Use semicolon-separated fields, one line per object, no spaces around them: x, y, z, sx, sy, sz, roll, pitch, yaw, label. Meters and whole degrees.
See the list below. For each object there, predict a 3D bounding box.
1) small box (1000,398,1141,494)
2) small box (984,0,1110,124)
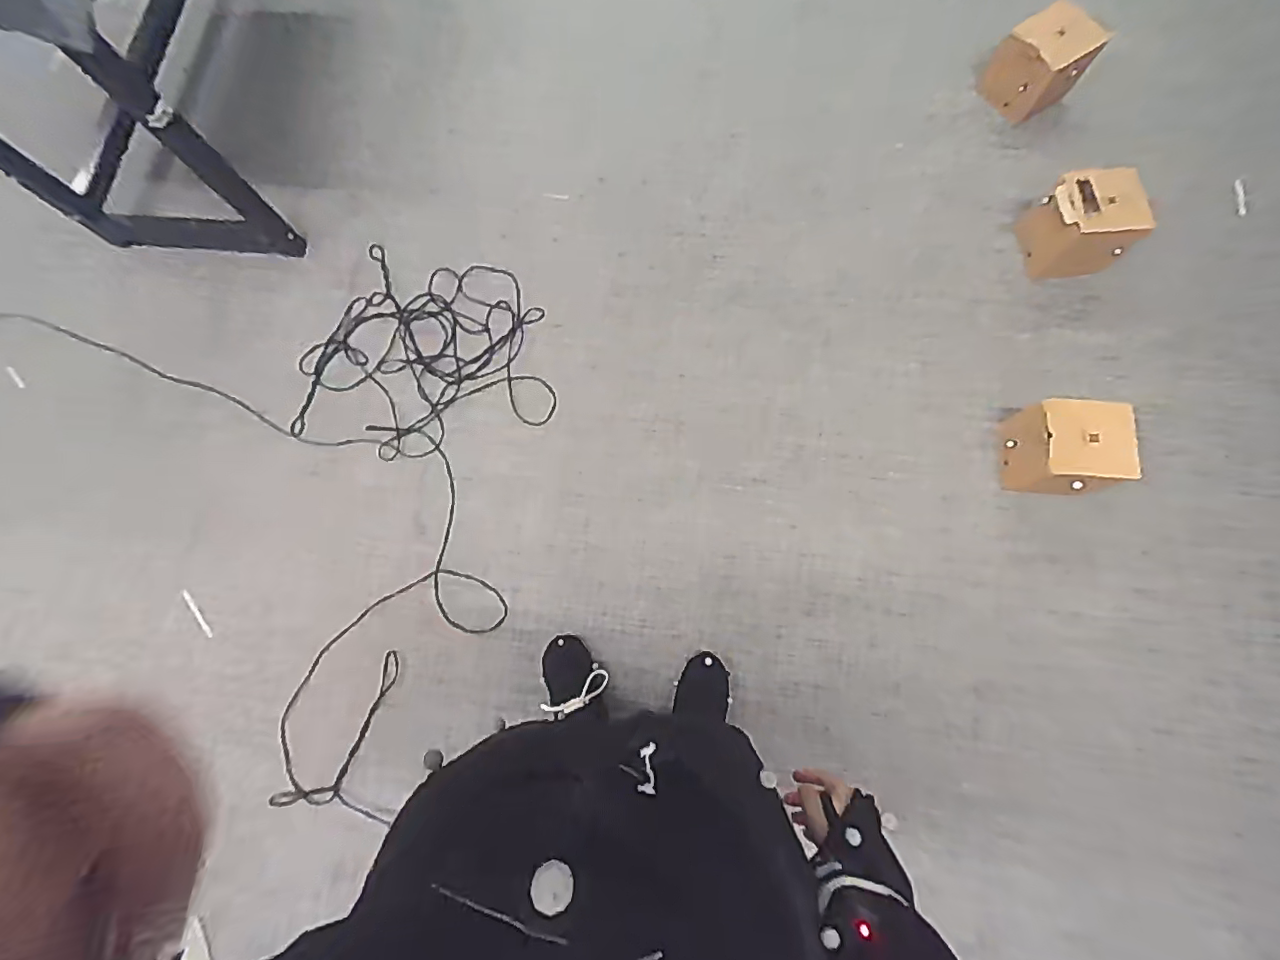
0.923;-0.067;1.176;0.179;0.176;0.168;4;77;5;small box
1.046;-1.086;1.415;0.179;0.176;0.168;-32;78;-6;small box
